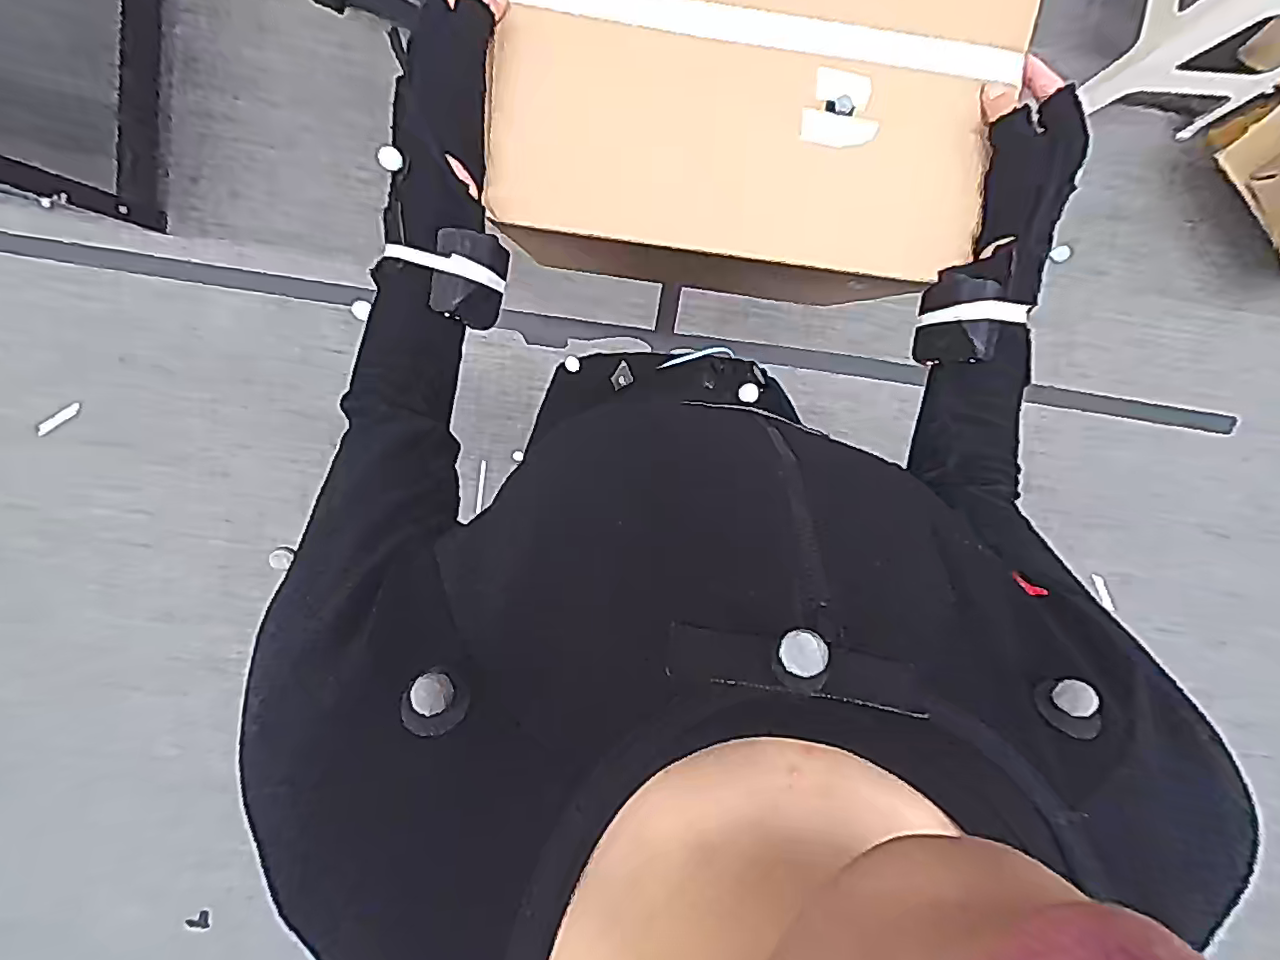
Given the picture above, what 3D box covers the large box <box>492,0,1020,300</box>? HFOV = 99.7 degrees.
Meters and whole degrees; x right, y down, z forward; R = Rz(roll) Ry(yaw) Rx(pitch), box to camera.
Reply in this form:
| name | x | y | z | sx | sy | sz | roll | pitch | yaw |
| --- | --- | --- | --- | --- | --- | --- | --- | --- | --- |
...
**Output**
| name | x | y | z | sx | sy | sz | roll | pitch | yaw |
| --- | --- | --- | --- | --- | --- | --- | --- | --- | --- |
| large box | 0.082 | -0.379 | 0.564 | 0.408 | 0.320 | 0.320 | 6 | 106 | -5 |
